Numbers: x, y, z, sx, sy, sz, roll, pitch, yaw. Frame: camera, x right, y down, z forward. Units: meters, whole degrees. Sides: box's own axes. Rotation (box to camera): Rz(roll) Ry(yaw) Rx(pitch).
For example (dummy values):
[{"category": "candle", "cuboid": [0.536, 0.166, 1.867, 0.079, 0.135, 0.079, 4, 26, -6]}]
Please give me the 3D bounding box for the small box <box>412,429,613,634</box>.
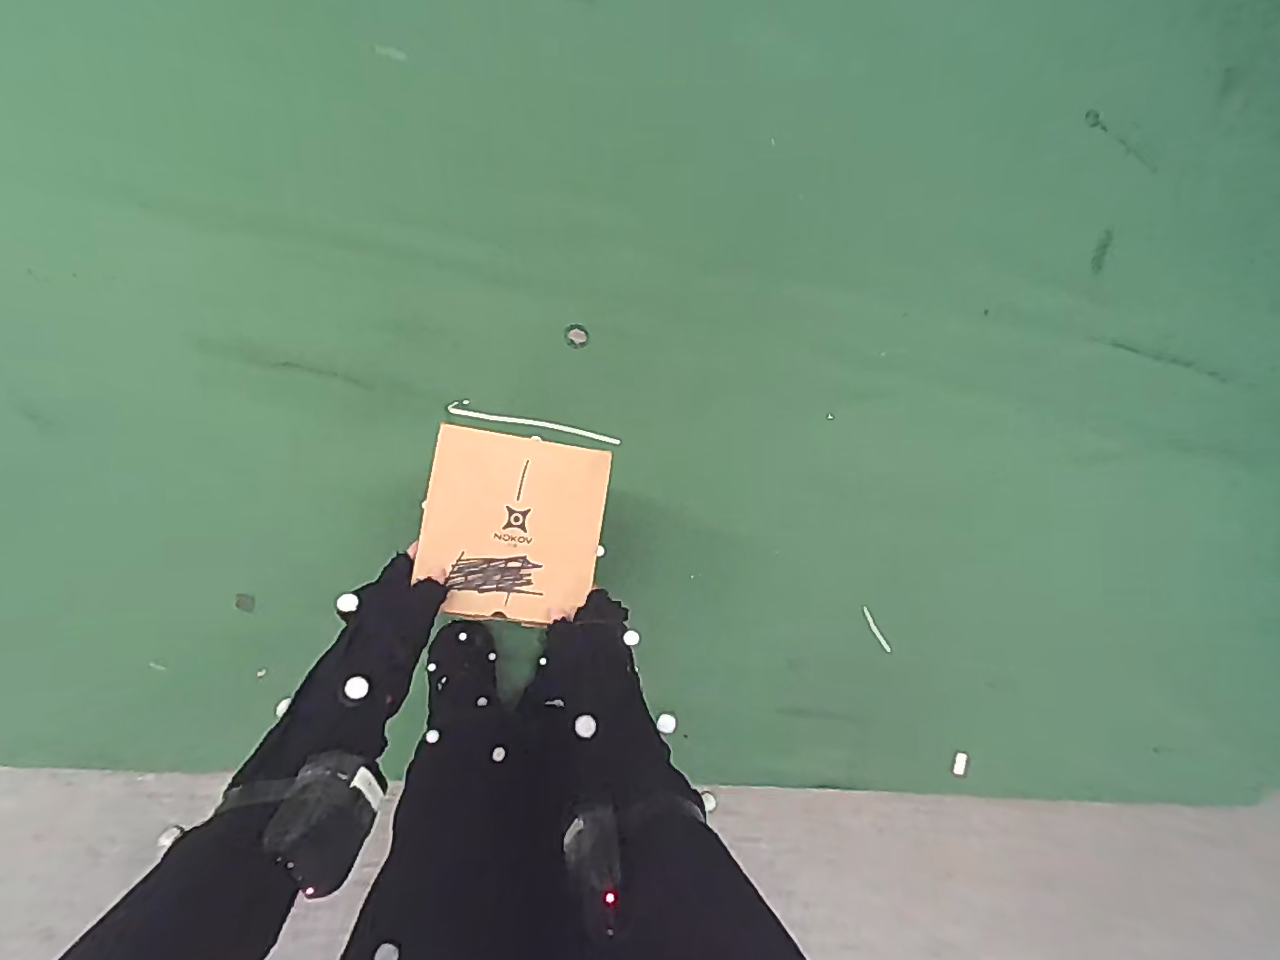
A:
[{"category": "small box", "cuboid": [-0.132, 0.055, 0.590, 0.168, 0.176, 0.179, 9, 84, -11]}]
